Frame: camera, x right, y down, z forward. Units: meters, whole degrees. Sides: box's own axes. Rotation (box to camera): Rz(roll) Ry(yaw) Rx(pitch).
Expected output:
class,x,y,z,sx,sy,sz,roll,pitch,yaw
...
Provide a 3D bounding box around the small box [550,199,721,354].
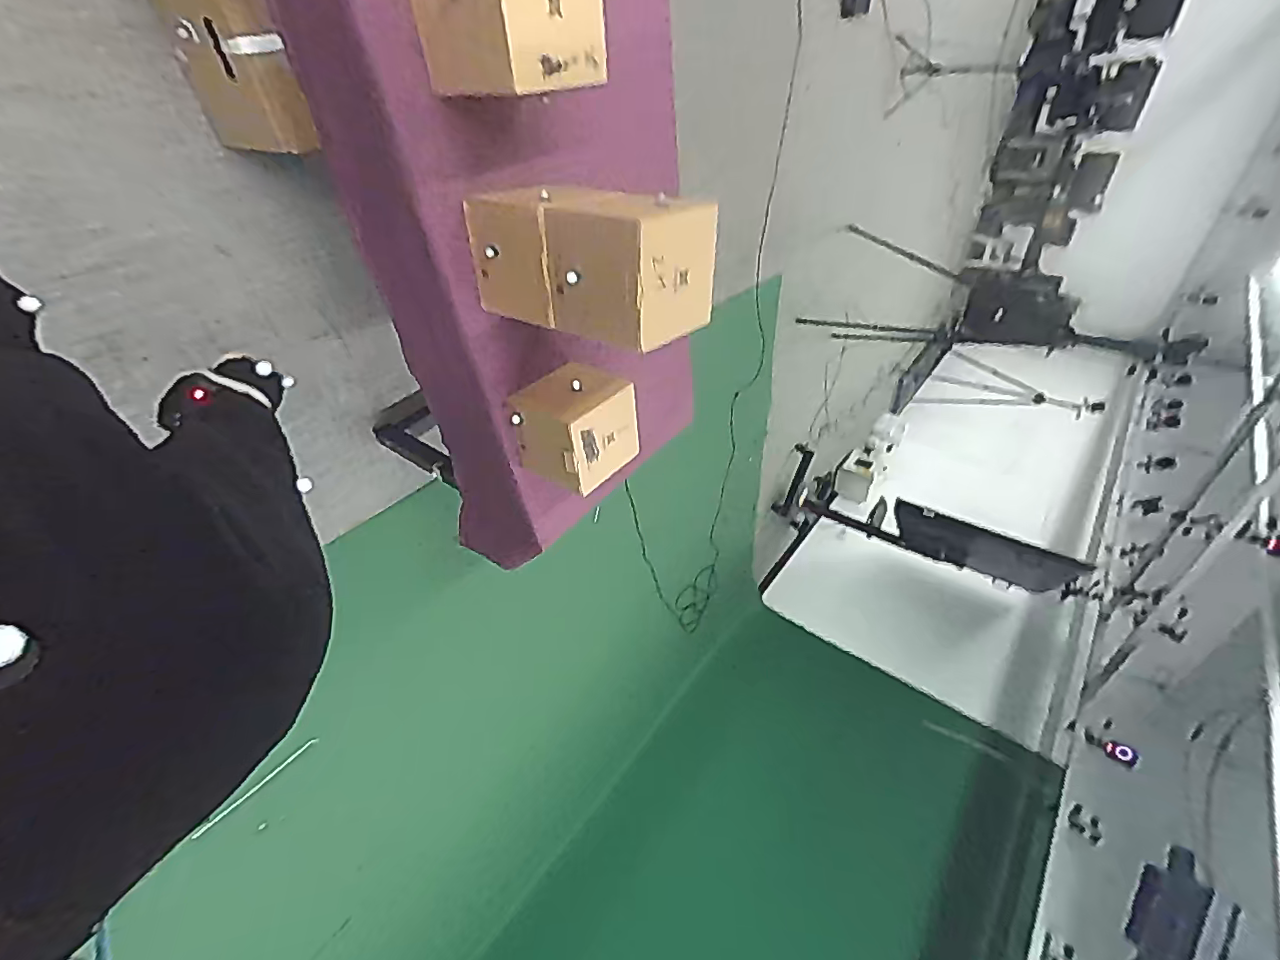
class,x,y,z,sx,sy,sz,roll,pitch,yaw
small box,-0.006,-0.302,0.779,0.179,0.176,0.168,-34,136,-39

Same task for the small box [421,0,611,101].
class,x,y,z,sx,sy,sz,roll,pitch,yaw
small box,-0.159,-0.586,0.669,0.168,0.176,0.179,-39,139,-35

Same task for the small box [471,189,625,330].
class,x,y,z,sx,sy,sz,roll,pitch,yaw
small box,-0.138,-0.358,0.861,0.179,0.176,0.168,-35,137,-38

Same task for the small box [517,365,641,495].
class,x,y,z,sx,sy,sz,roll,pitch,yaw
small box,-0.120,-0.104,1.055,0.179,0.176,0.168,-40,140,-36
